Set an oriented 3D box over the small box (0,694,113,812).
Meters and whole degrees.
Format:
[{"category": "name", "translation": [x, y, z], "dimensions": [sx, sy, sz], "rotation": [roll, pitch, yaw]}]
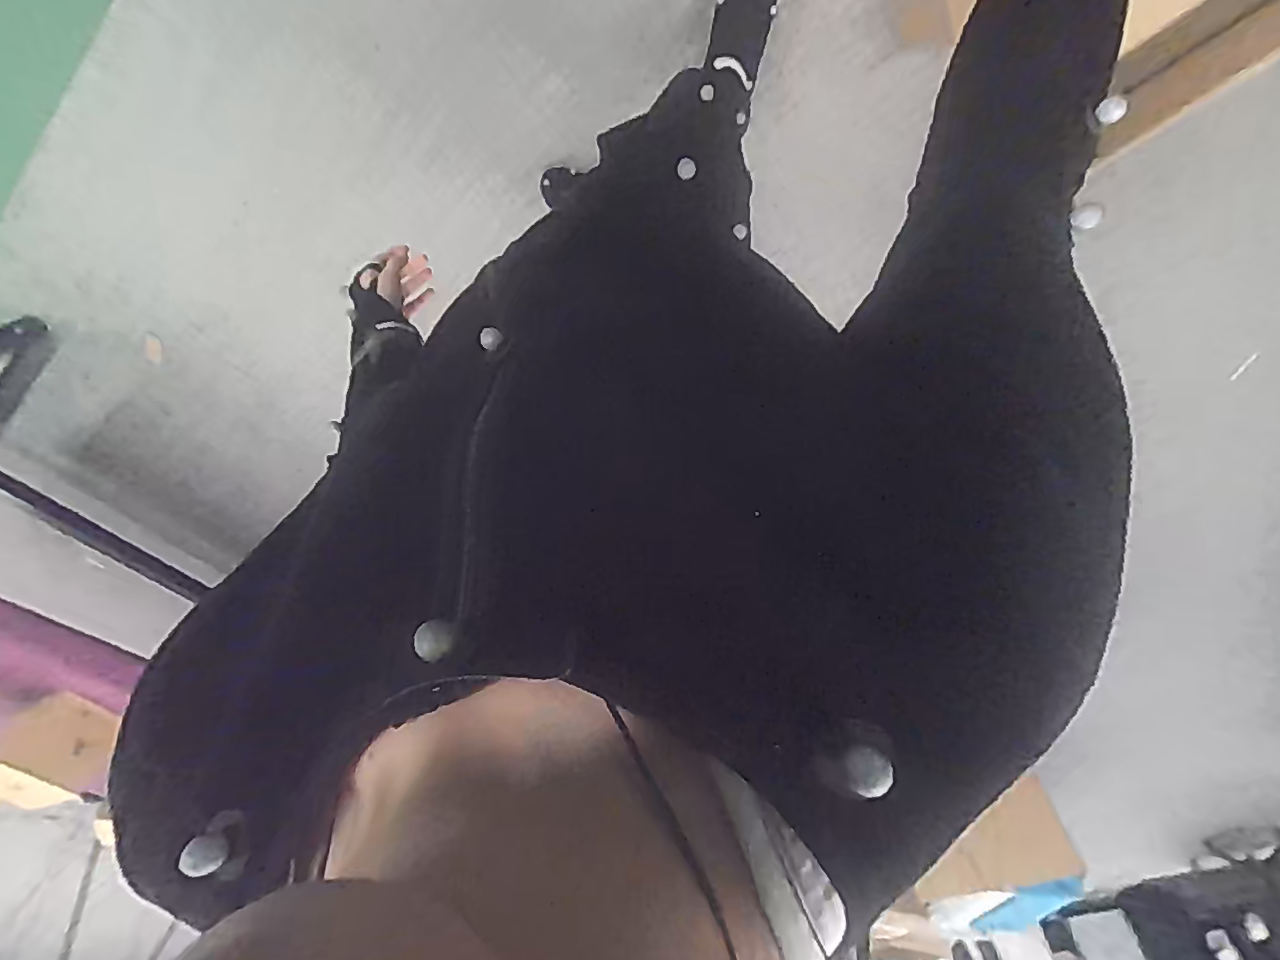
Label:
[{"category": "small box", "translation": [-1.329, 0.593, 1.184], "dimensions": [0.179, 0.176, 0.168], "rotation": [-19, 125, 15]}]
